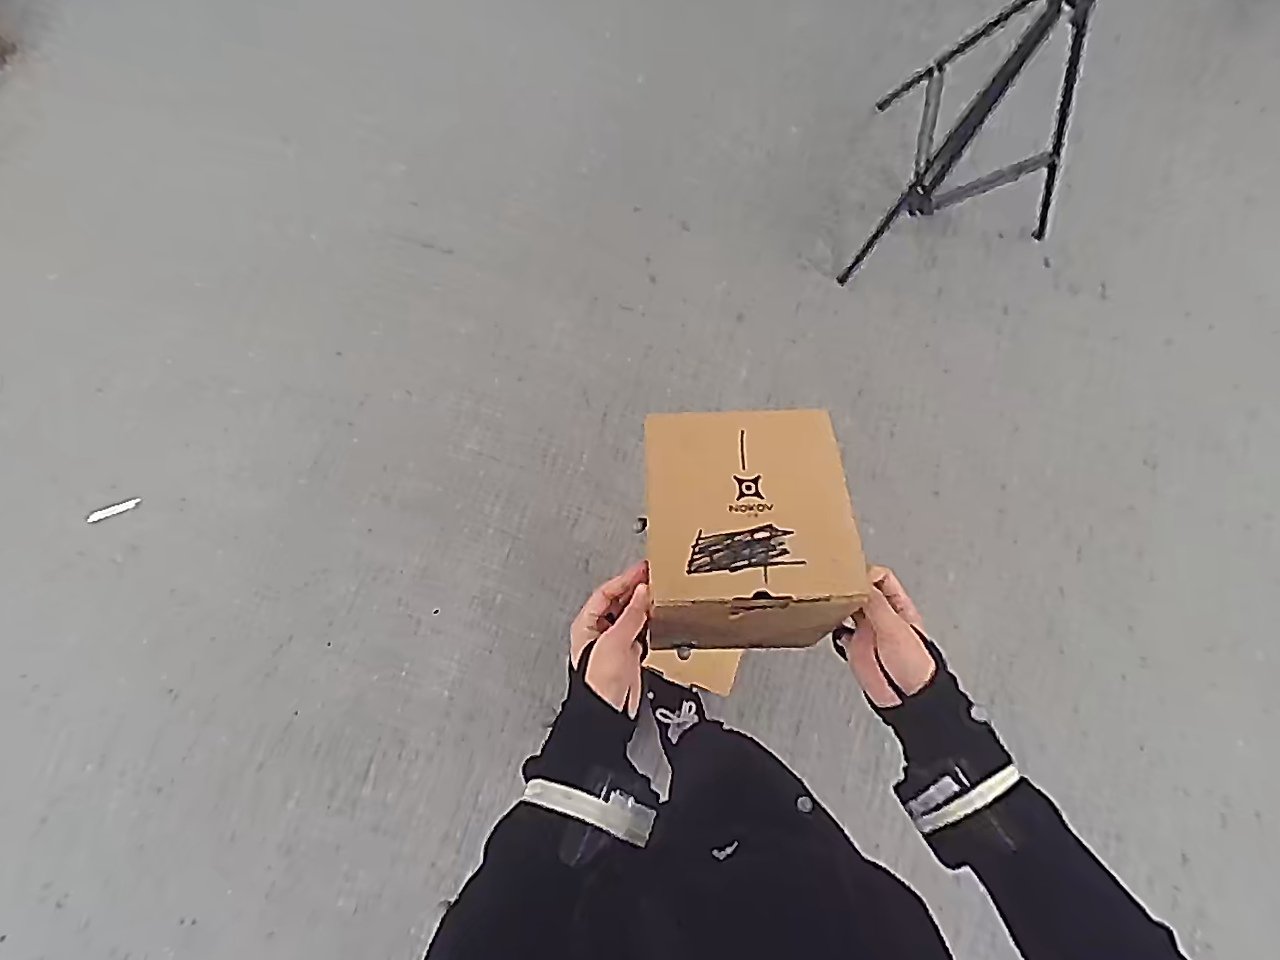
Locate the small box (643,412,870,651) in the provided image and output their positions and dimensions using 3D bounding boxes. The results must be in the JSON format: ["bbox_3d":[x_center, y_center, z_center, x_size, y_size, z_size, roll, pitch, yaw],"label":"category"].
[{"bbox_3d":[0.087,0.057,0.501,0.168,0.176,0.179,-1,60,0],"label":"small box"}]

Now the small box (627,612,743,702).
[{"bbox_3d":[0.089,0.249,0.926,0.168,0.176,0.179,20,80,6],"label":"small box"}]
